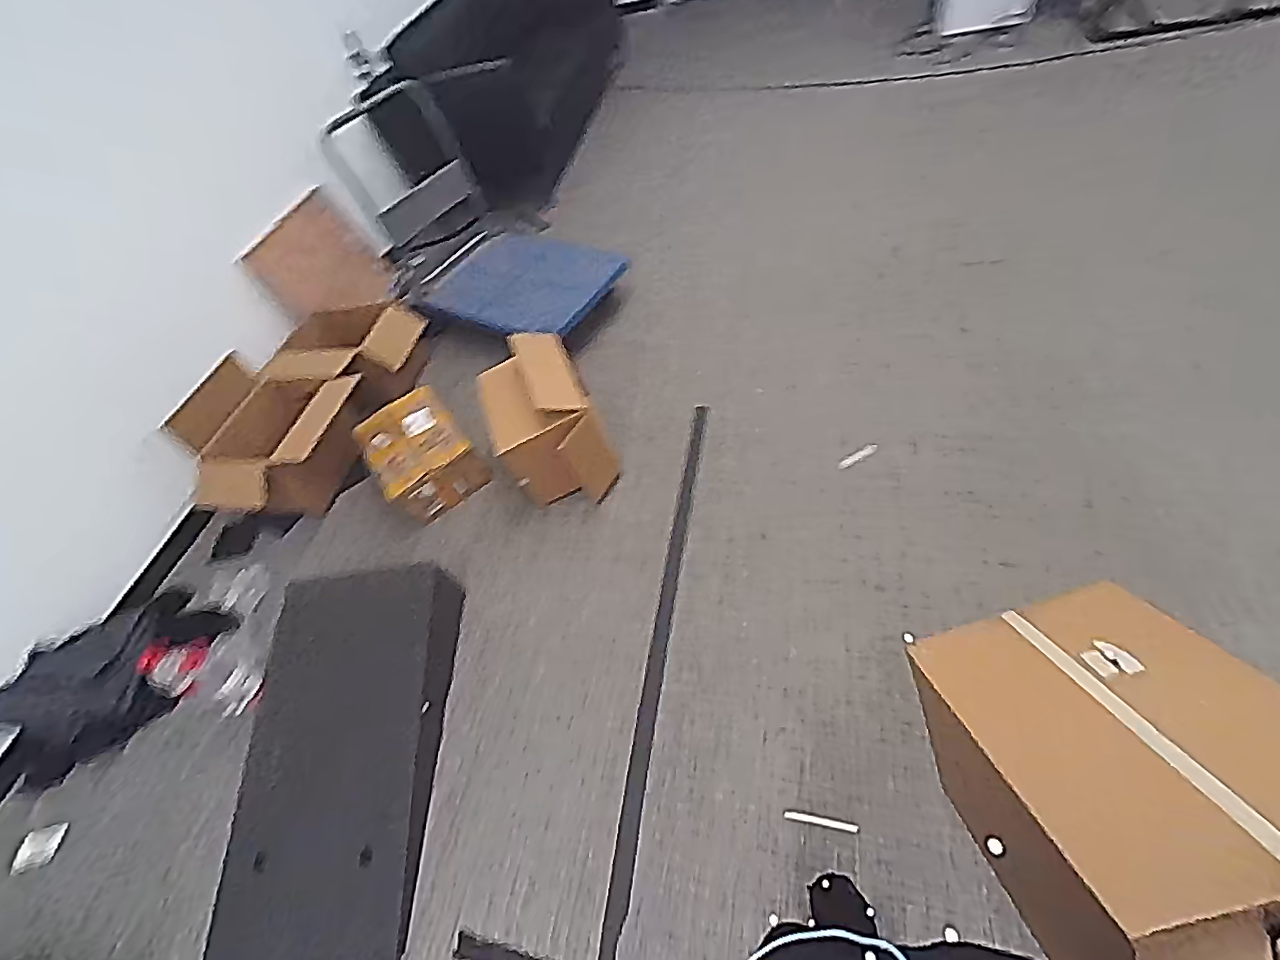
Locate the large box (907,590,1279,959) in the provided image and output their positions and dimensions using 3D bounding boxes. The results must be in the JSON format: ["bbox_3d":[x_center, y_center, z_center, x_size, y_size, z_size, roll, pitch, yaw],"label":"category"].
[{"bbox_3d":[0.615,0.411,0.686,0.320,0.320,0.408,-19,18,5],"label":"large box"}]
